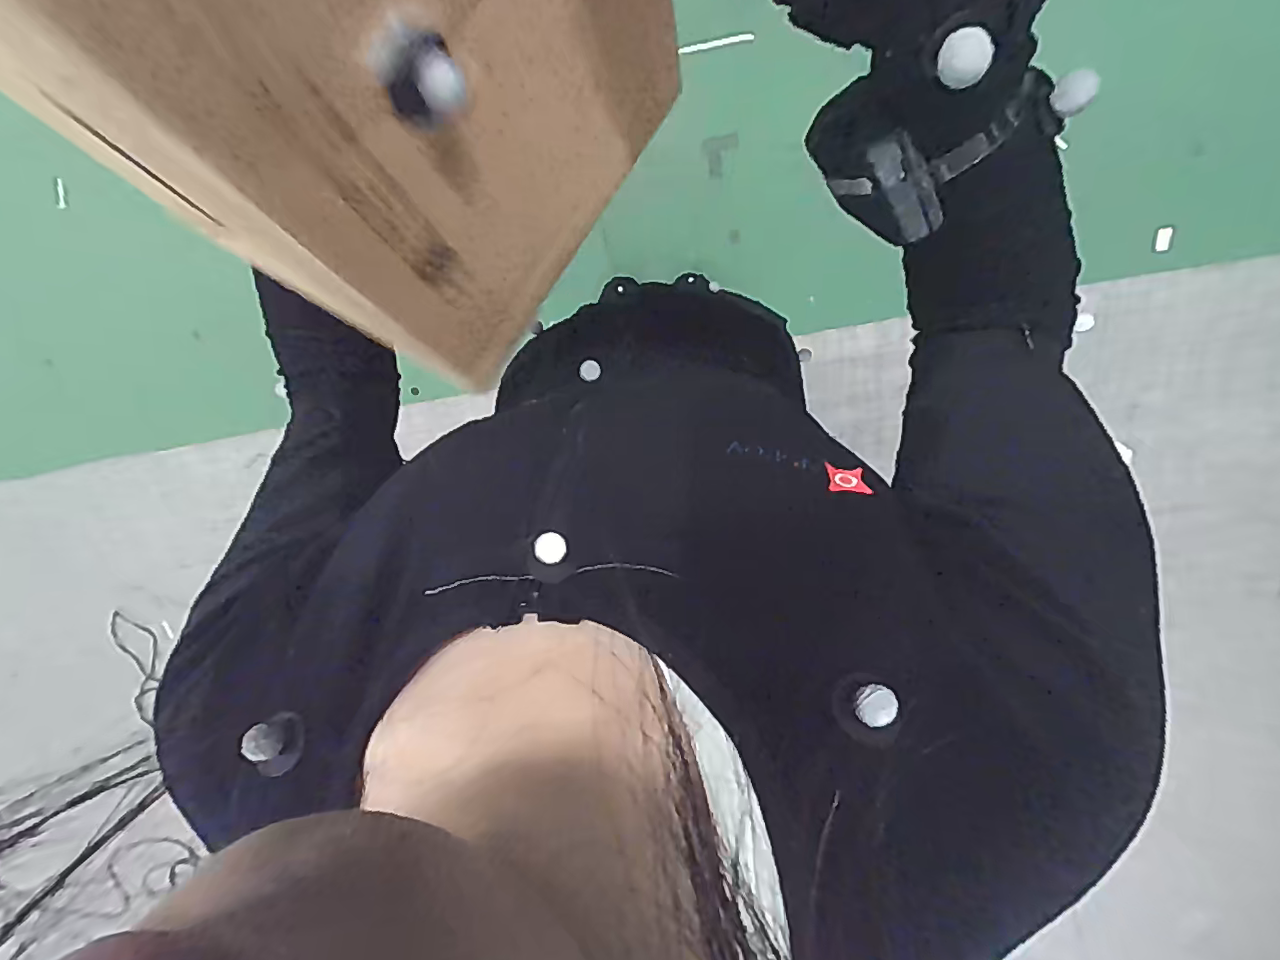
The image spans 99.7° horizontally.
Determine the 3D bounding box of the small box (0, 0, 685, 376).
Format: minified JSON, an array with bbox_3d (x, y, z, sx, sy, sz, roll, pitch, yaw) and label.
[{"bbox_3d":[-0.109,-0.161,0.177,0.179,0.168,0.176,30,90,14],"label":"small box"}]
